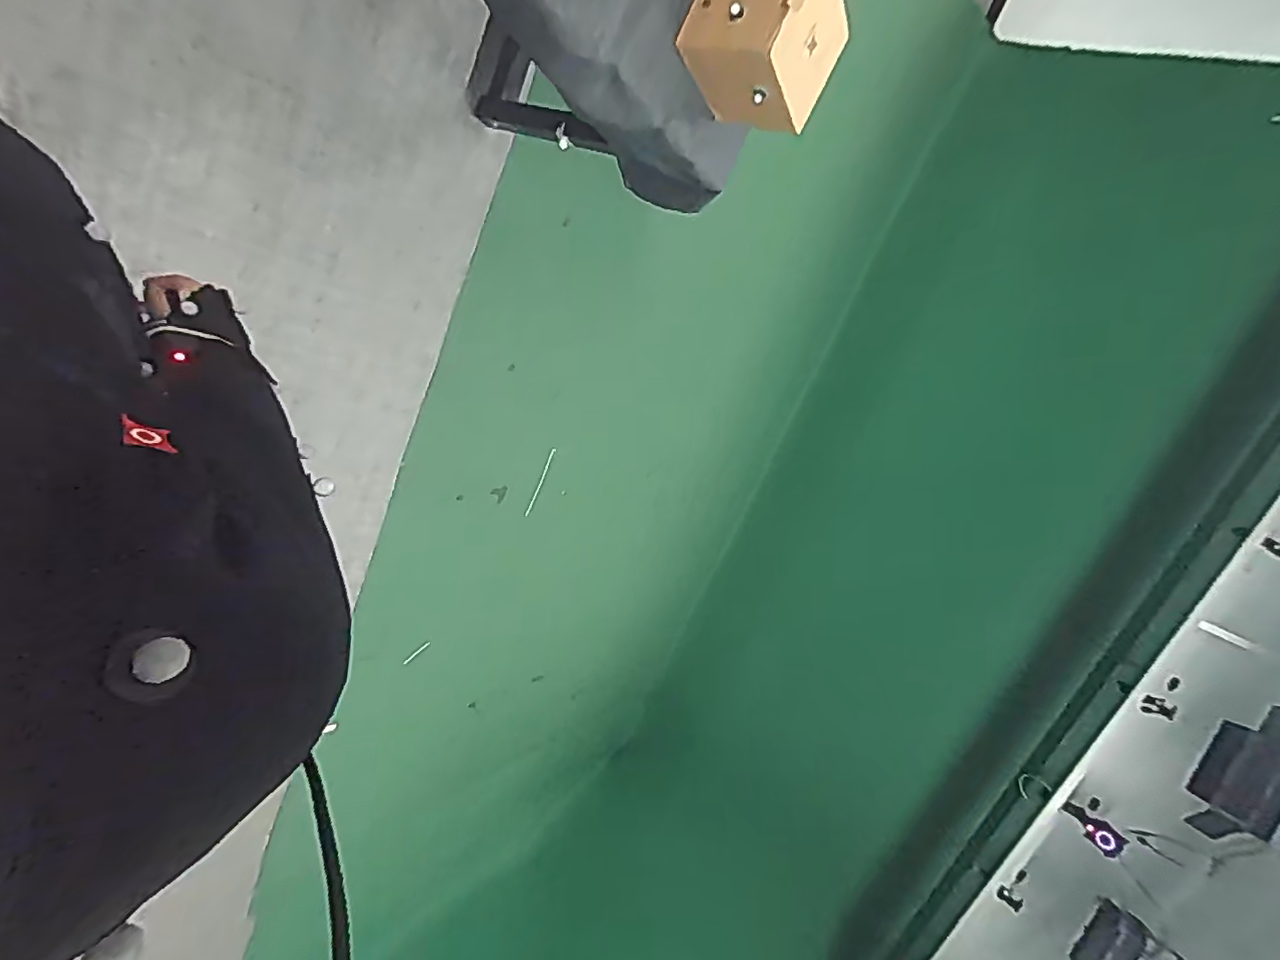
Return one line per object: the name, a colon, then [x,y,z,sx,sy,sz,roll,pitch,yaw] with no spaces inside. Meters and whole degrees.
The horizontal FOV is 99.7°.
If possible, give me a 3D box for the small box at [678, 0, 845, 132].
small box: [0.184,-0.676,0.826,0.179,0.176,0.168,12,108,-61]
